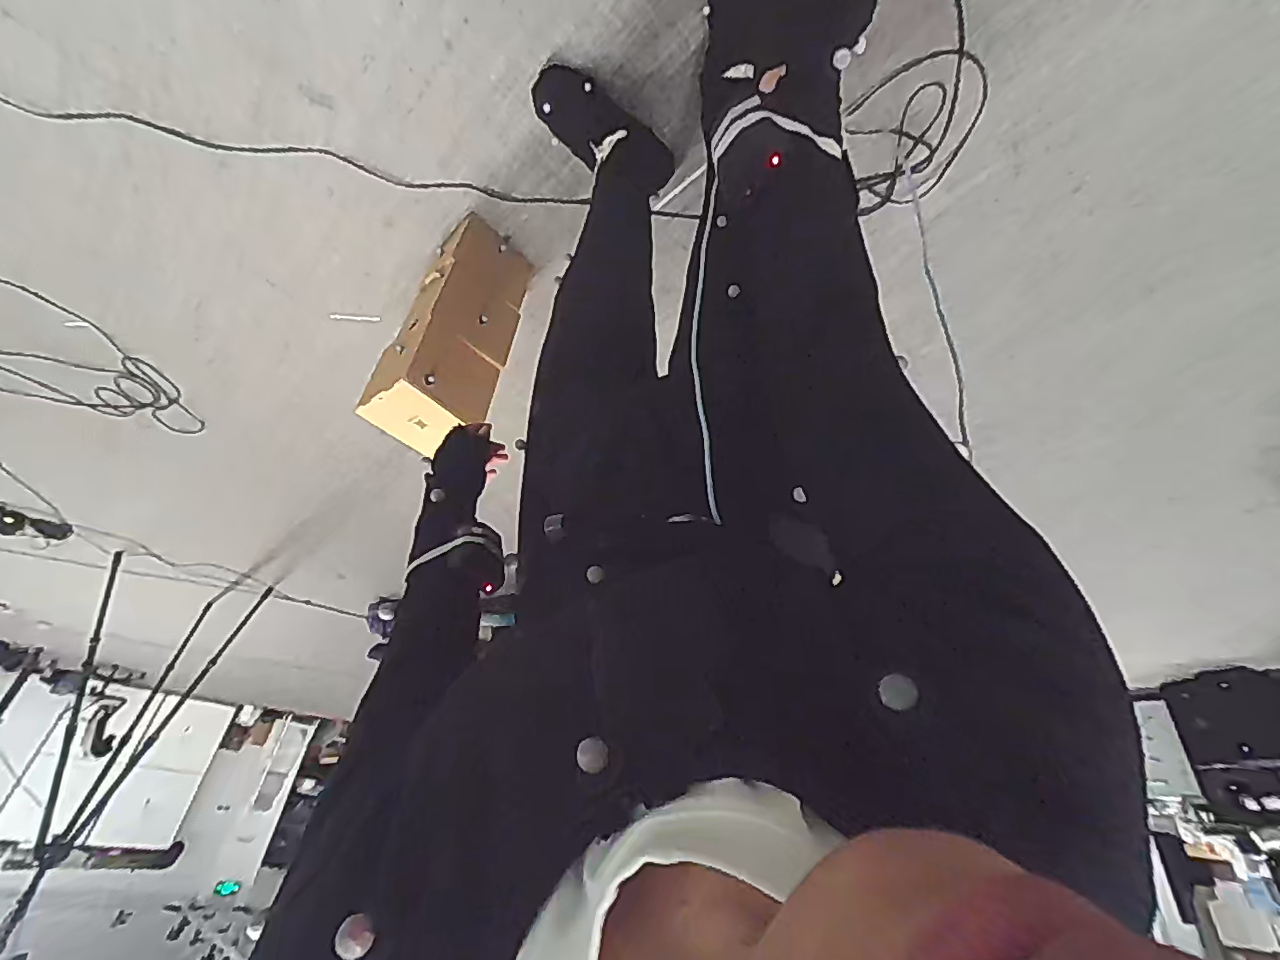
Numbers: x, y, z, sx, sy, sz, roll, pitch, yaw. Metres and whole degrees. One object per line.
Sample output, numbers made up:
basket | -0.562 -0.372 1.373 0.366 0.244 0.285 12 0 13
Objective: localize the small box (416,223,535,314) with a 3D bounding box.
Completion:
small box | -0.370 -0.453 1.237 0.168 0.176 0.179 -22 136 41

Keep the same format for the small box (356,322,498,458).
small box | -0.409 -0.175 1.066 0.168 0.176 0.179 -18 139 32

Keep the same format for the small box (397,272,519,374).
small box | -0.386 -0.311 1.151 0.168 0.176 0.179 -22 138 36
